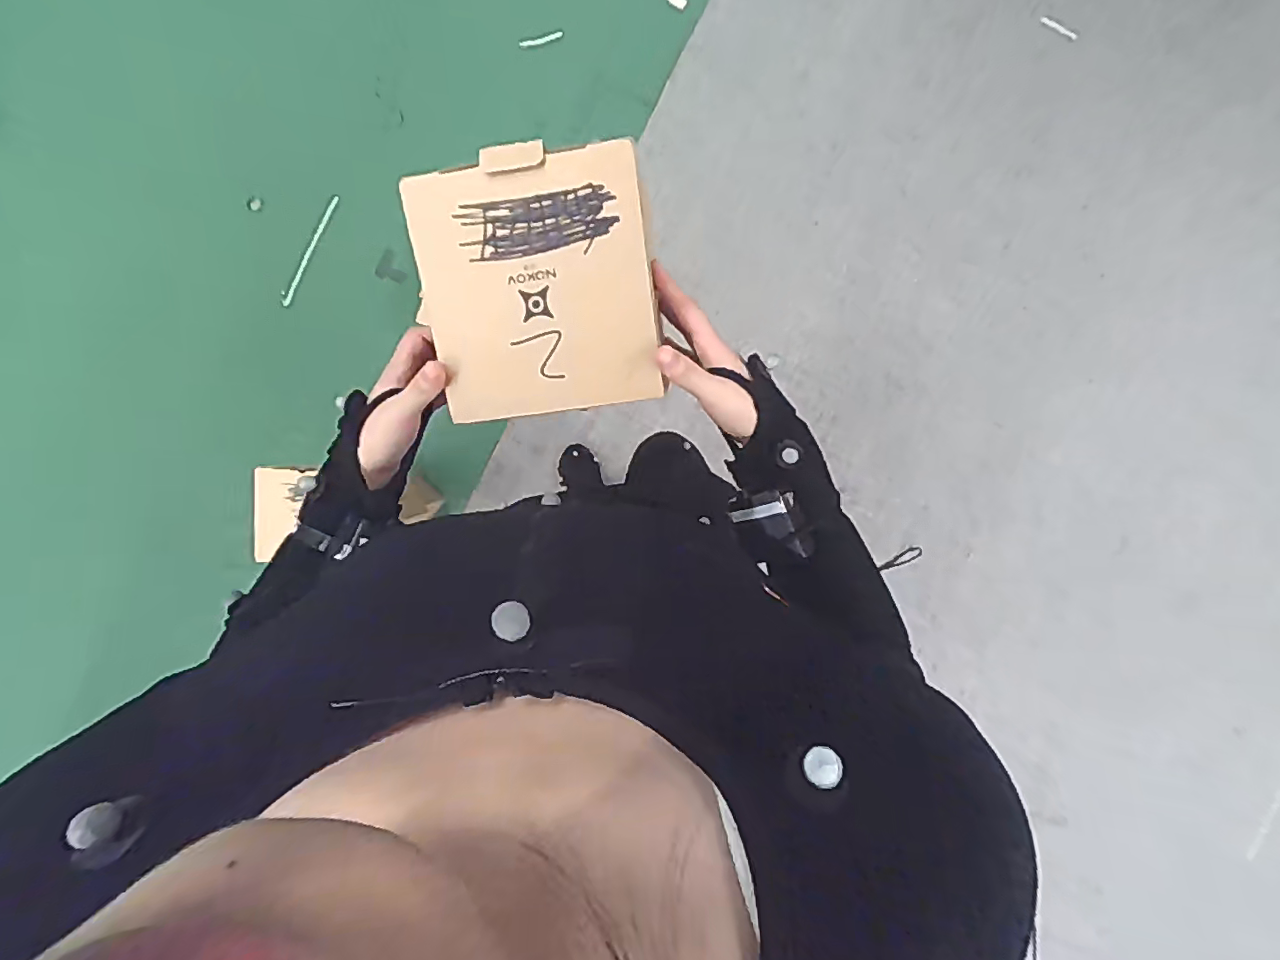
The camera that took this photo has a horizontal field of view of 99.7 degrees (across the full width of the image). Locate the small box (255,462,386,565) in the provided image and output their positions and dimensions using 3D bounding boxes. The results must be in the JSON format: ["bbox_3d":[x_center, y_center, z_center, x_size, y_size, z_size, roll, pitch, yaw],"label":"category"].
[{"bbox_3d":[-0.610,0.058,1.050,0.168,0.176,0.179,3,95,-3],"label":"small box"}]

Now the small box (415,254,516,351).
[{"bbox_3d":[-0.429,-0.435,1.357,0.179,0.176,0.168,16,92,-2],"label":"small box"}]

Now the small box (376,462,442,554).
[{"bbox_3d":[-0.639,0.058,1.377,0.179,0.176,0.168,42,90,-4],"label":"small box"}]

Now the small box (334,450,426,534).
[{"bbox_3d":[-0.613,0.042,1.215,0.168,0.176,0.179,-27,93,-2],"label":"small box"}]
